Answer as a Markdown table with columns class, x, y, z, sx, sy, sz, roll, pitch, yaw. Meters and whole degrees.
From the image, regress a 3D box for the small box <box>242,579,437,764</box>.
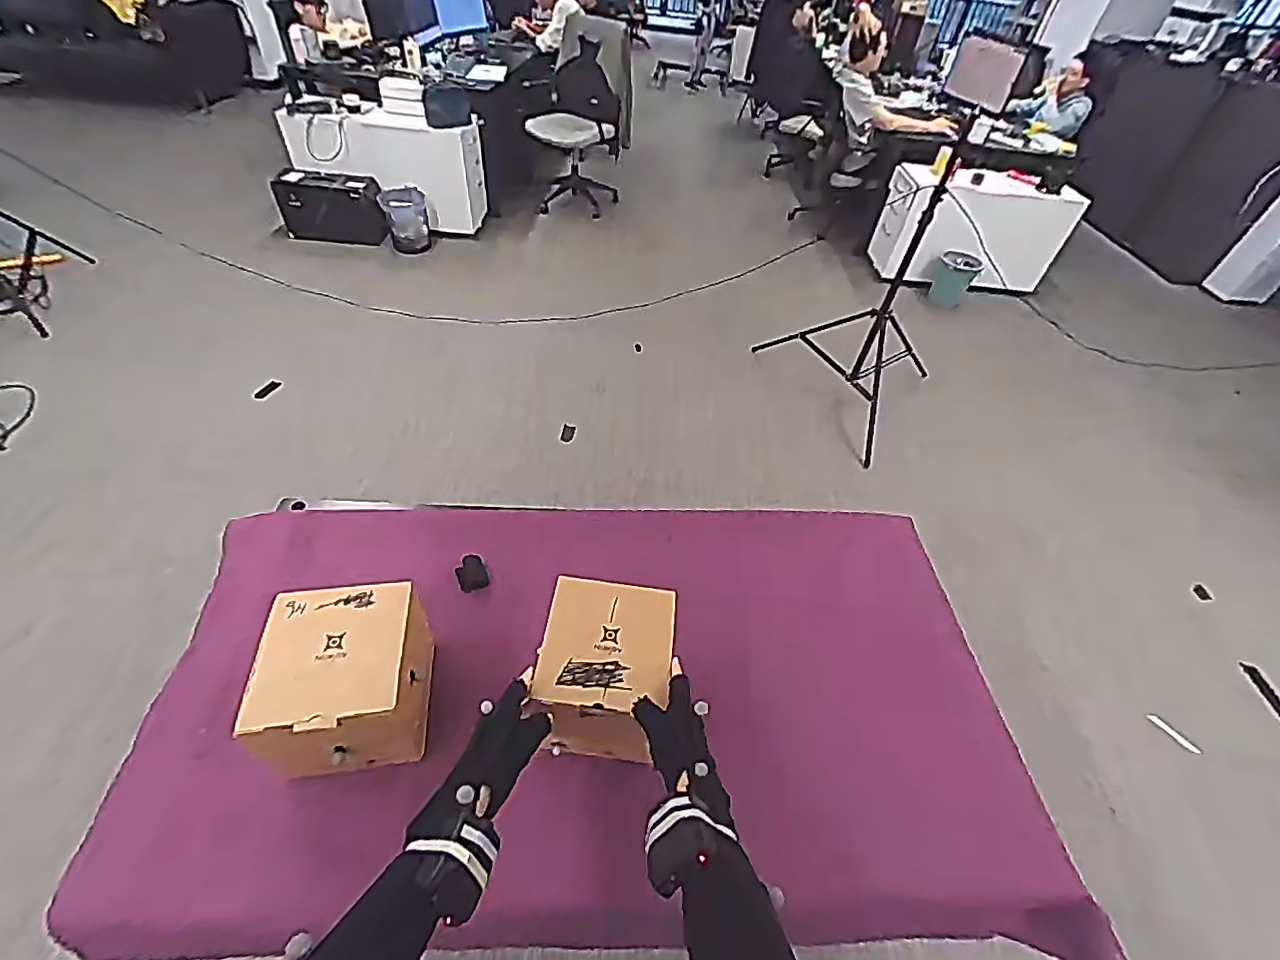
| class | x | y | z | sx | sy | sz | roll | pitch | yaw |
| --- | --- | --- | --- | --- | --- | --- | --- | --- | --- |
| small box | -0.370 | 0.254 | 0.707 | 0.168 | 0.176 | 0.179 | -3 | 48 | -11 |

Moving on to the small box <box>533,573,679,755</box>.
| class | x | y | z | sx | sy | sz | roll | pitch | yaw |
| --- | --- | --- | --- | --- | --- | --- | --- | --- | --- |
| small box | -0.042 | 0.256 | 0.744 | 0.168 | 0.176 | 0.179 | 8 | 45 | 1 |
